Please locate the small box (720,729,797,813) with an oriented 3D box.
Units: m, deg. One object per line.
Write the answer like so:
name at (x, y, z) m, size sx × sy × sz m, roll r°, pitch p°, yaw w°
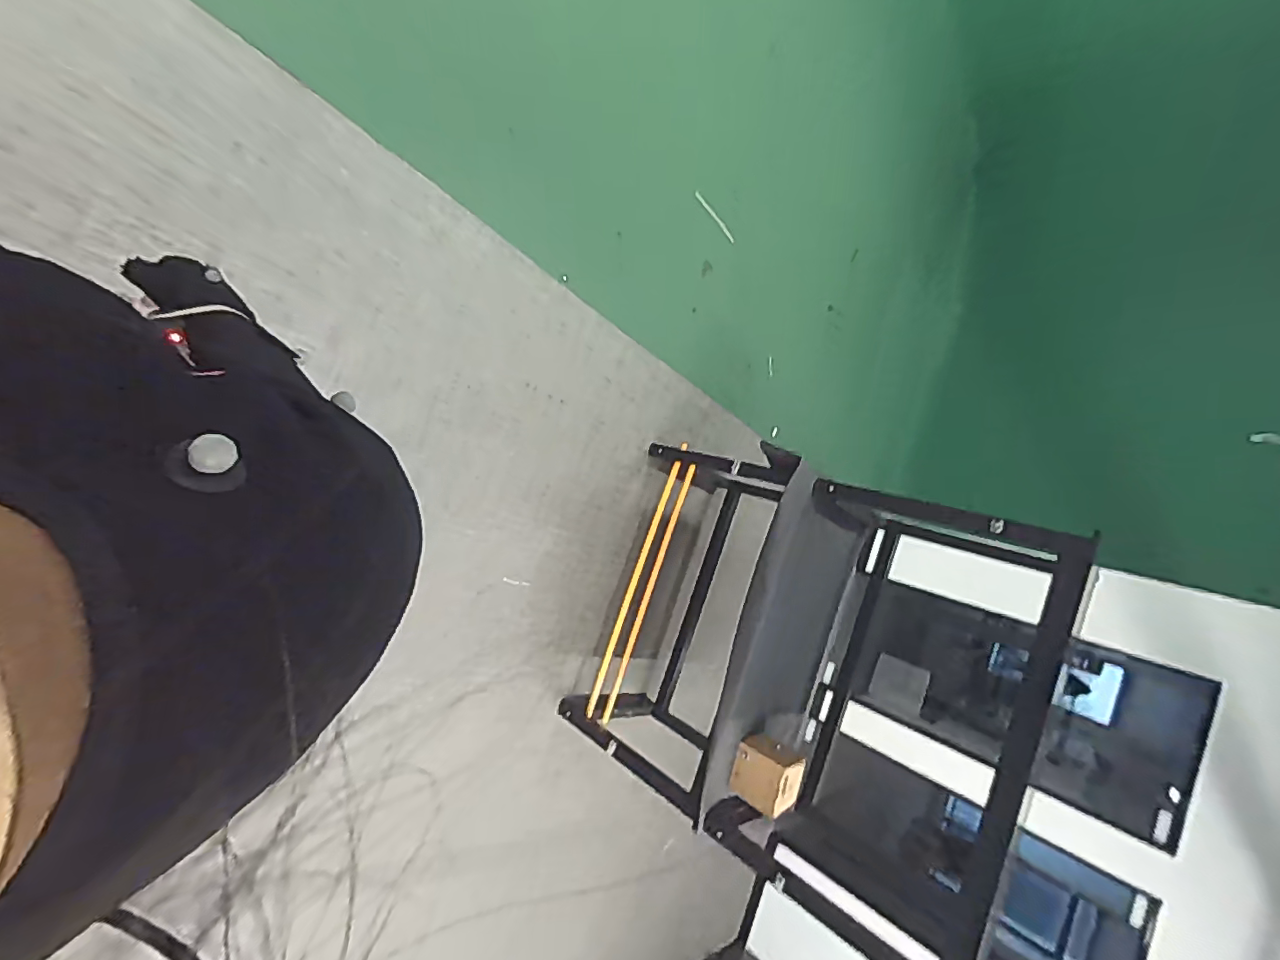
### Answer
small box at (0.391, 0.960, 1.799) m, size 0.179 × 0.176 × 0.168 m, roll 14°, pitch 91°, yaw -50°
